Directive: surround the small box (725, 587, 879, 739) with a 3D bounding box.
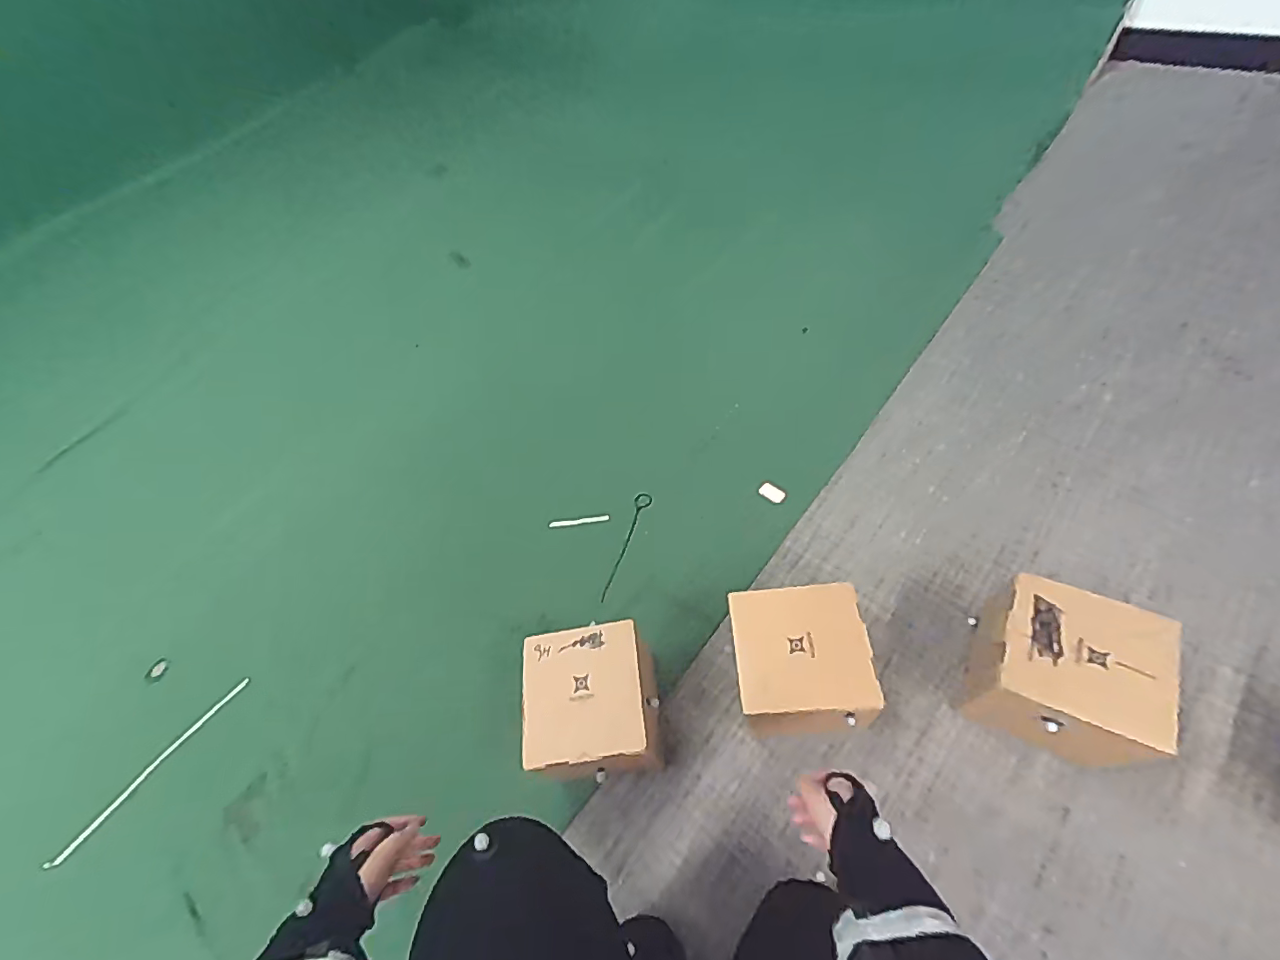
[{"bbox_3d":[0.222,0.270,0.780,0.179,0.176,0.168,-7,55,7],"label":"small box"}]

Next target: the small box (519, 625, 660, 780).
[{"bbox_3d":[-0.070,0.334,0.795,0.168,0.176,0.179,-10,56,5],"label":"small box"}]
